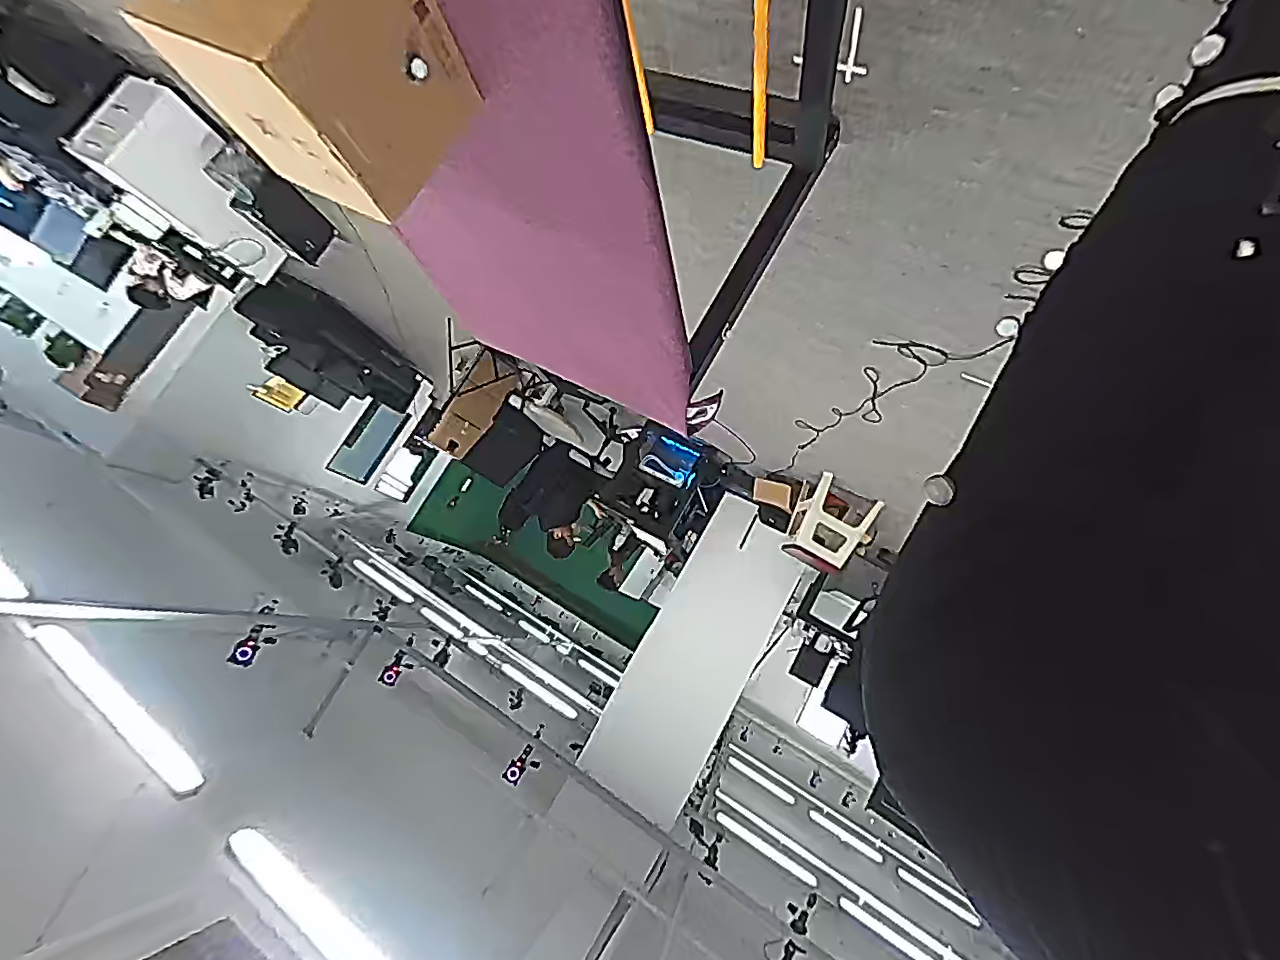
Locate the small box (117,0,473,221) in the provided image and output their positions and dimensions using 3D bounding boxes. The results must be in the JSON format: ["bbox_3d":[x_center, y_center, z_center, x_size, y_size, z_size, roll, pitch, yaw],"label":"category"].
[{"bbox_3d":[-0.291,-0.385,0.494,0.179,0.176,0.168,28,172,15],"label":"small box"}]
